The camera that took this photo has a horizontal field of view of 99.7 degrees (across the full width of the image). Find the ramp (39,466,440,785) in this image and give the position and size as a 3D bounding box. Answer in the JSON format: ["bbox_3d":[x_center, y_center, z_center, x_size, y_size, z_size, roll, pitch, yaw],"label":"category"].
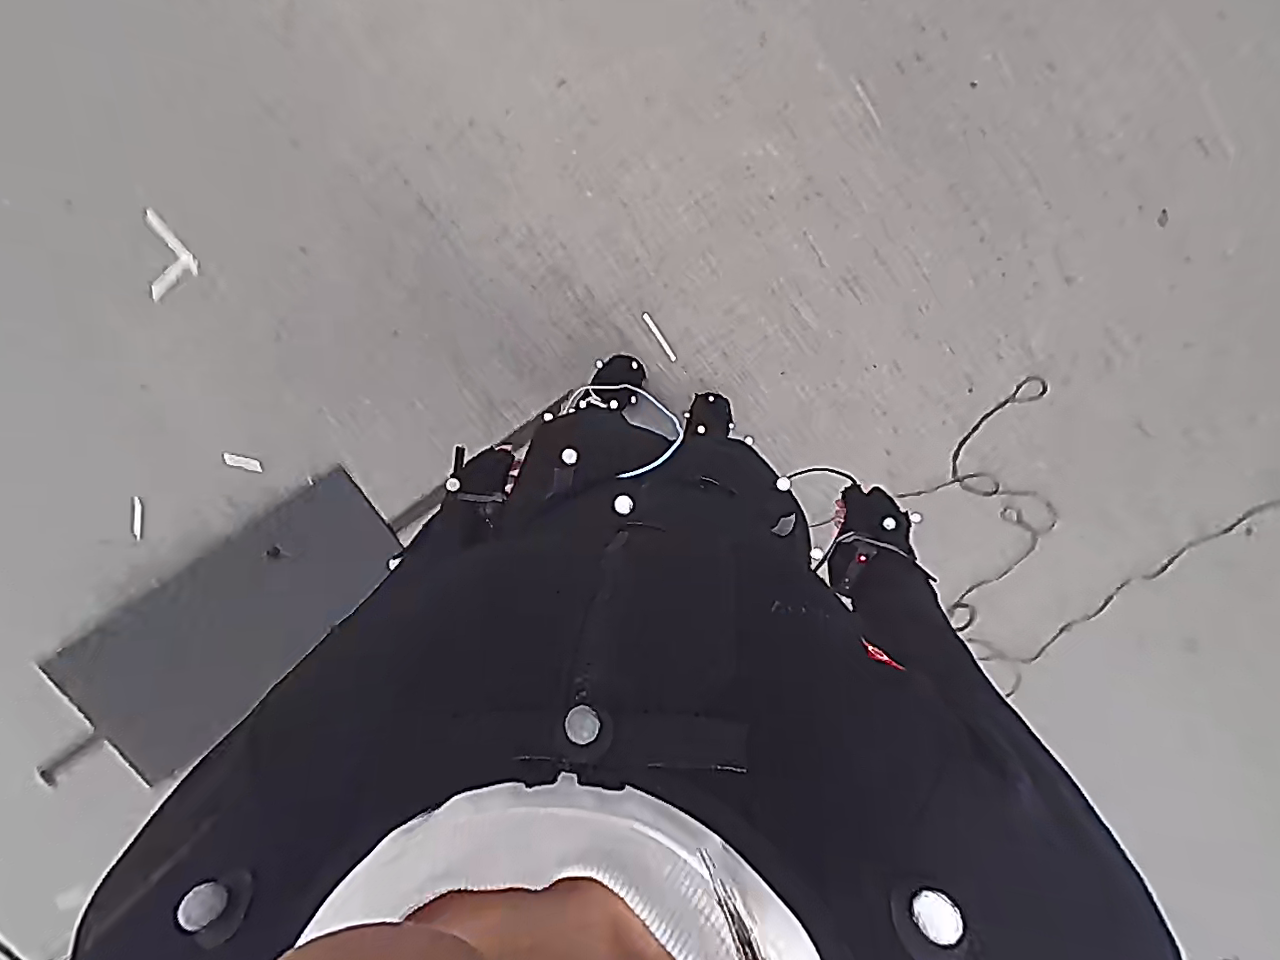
[{"bbox_3d":[-1.124,0.421,1.542,0.991,0.206,0.509,-33,98,10],"label":"ramp"}]
